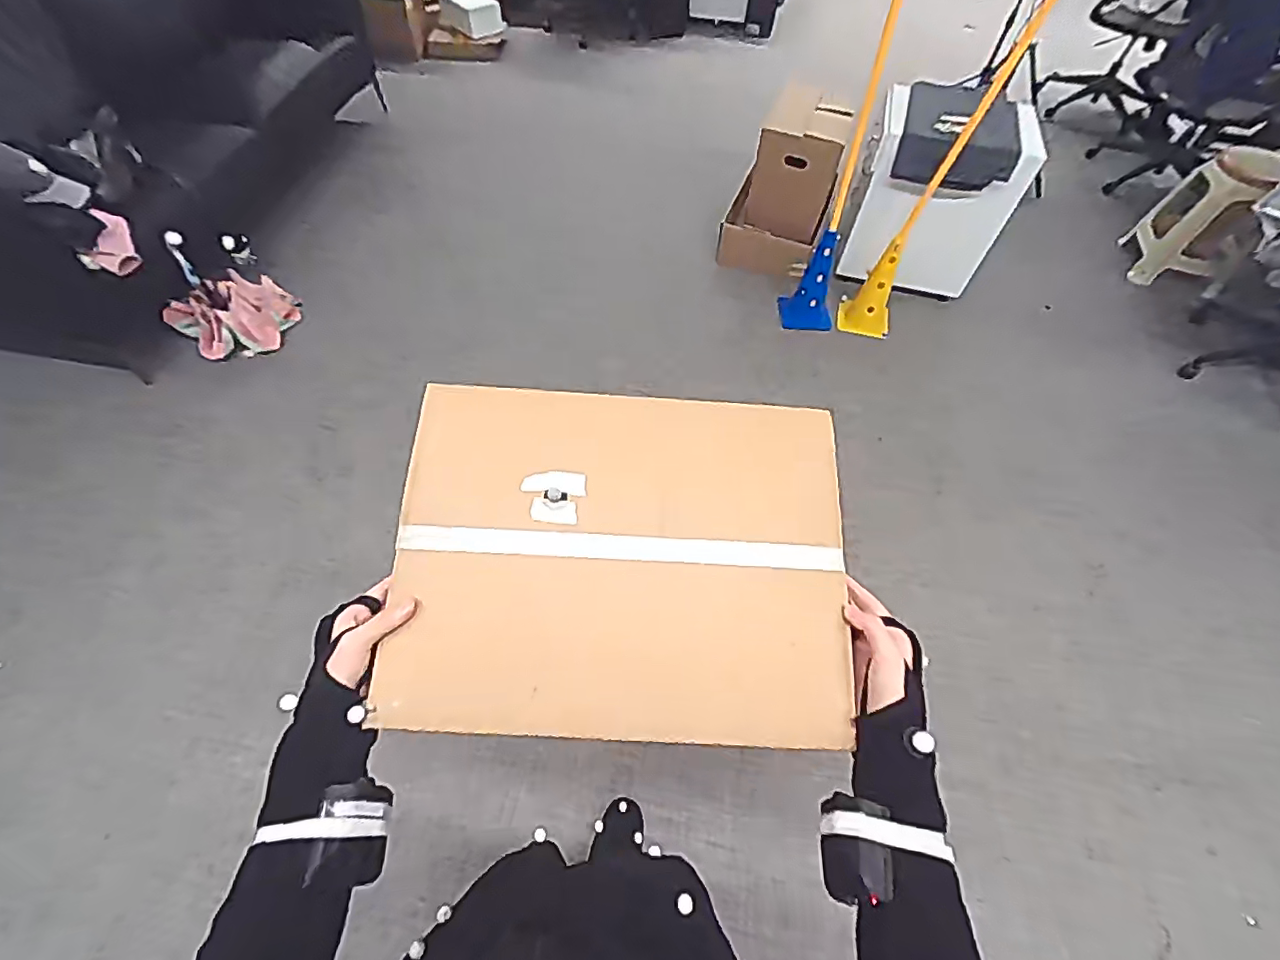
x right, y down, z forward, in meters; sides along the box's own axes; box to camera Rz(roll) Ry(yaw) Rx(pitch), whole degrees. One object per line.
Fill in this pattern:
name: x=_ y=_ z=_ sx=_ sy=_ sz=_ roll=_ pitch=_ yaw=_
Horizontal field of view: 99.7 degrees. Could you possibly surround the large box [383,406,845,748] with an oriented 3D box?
large box: x=-0.019 y=0.124 z=0.649 sx=0.408 sy=0.320 sz=0.320 roll=3 pitch=70 yaw=-1
